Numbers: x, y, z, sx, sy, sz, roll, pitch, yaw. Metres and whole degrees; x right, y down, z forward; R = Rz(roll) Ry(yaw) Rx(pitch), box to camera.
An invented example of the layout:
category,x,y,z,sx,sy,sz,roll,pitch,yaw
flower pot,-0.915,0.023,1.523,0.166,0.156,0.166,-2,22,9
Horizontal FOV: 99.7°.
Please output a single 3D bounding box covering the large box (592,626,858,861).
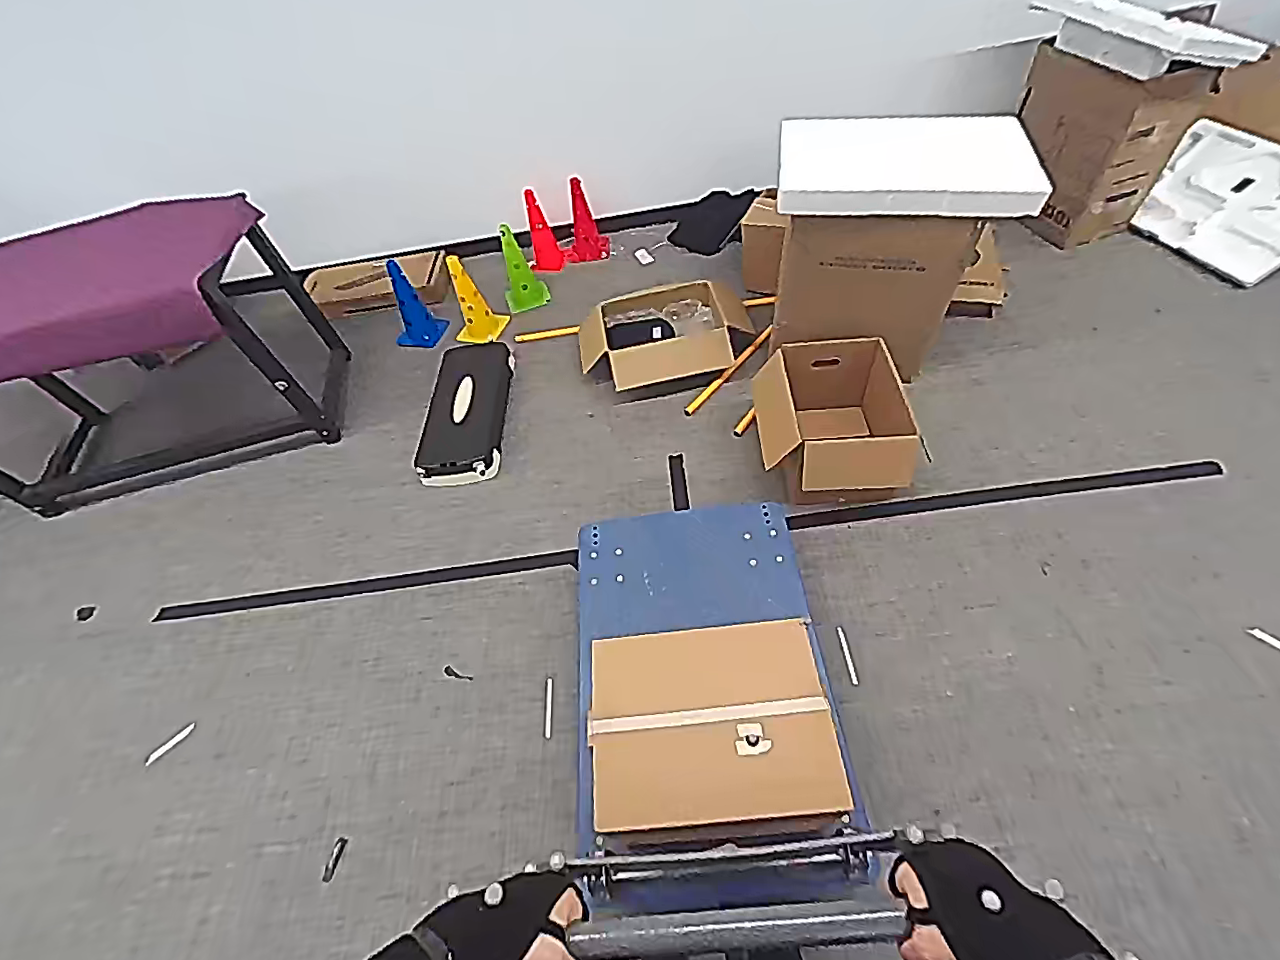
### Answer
category,x,y,z,sx,sy,sz,roll,pitch,yaw
large box,0.134,0.504,1.020,0.408,0.320,0.320,-7,52,2
